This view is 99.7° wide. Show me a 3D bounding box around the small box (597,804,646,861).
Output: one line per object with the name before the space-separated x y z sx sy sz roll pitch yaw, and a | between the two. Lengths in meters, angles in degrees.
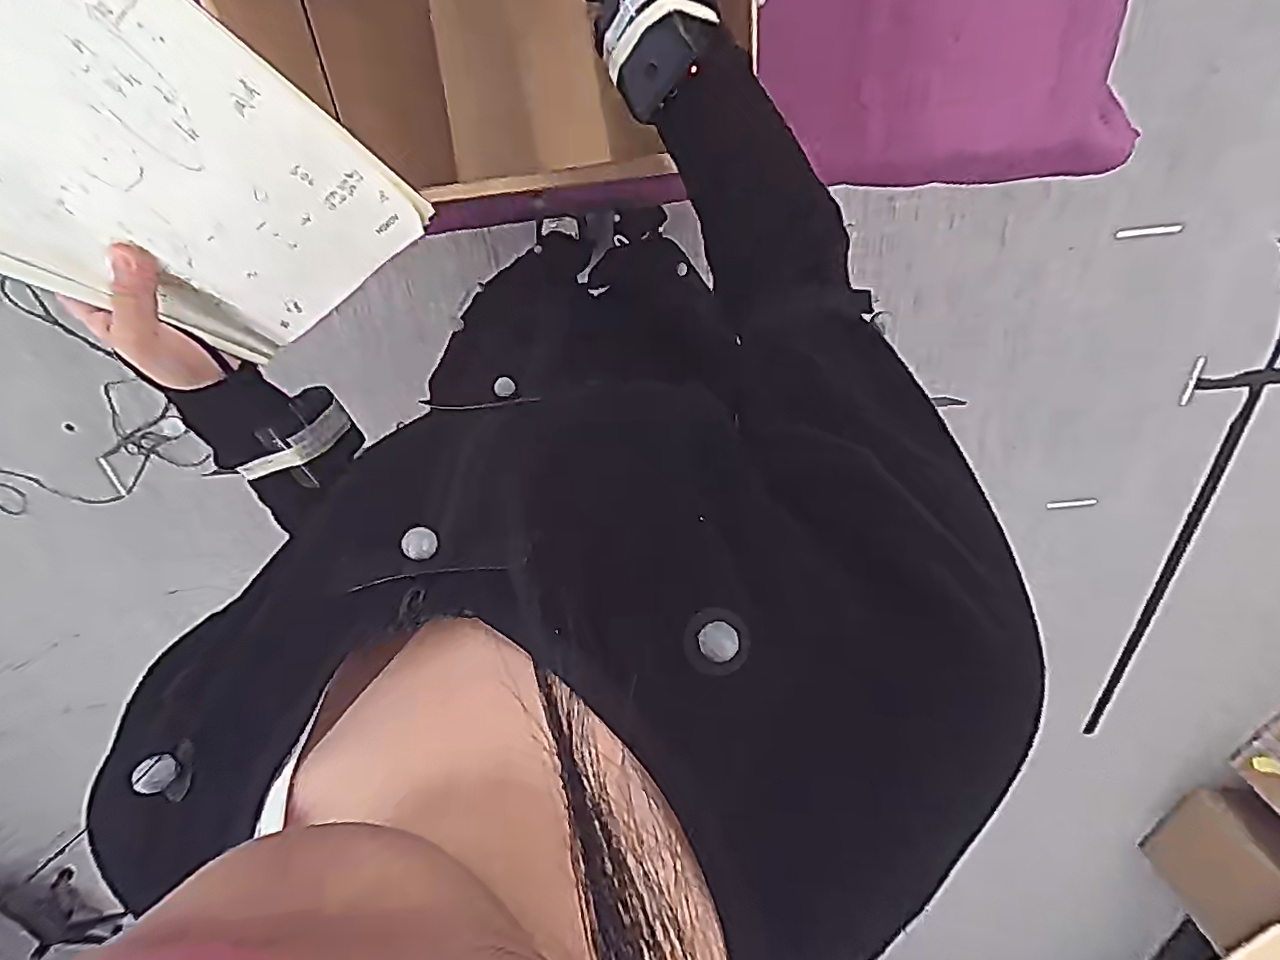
small box | -0.067 1.278 1.922 0.168 0.176 0.179 0 120 -1

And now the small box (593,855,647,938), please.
small box | -0.064 1.367 1.784 0.168 0.176 0.179 -2 118 1
